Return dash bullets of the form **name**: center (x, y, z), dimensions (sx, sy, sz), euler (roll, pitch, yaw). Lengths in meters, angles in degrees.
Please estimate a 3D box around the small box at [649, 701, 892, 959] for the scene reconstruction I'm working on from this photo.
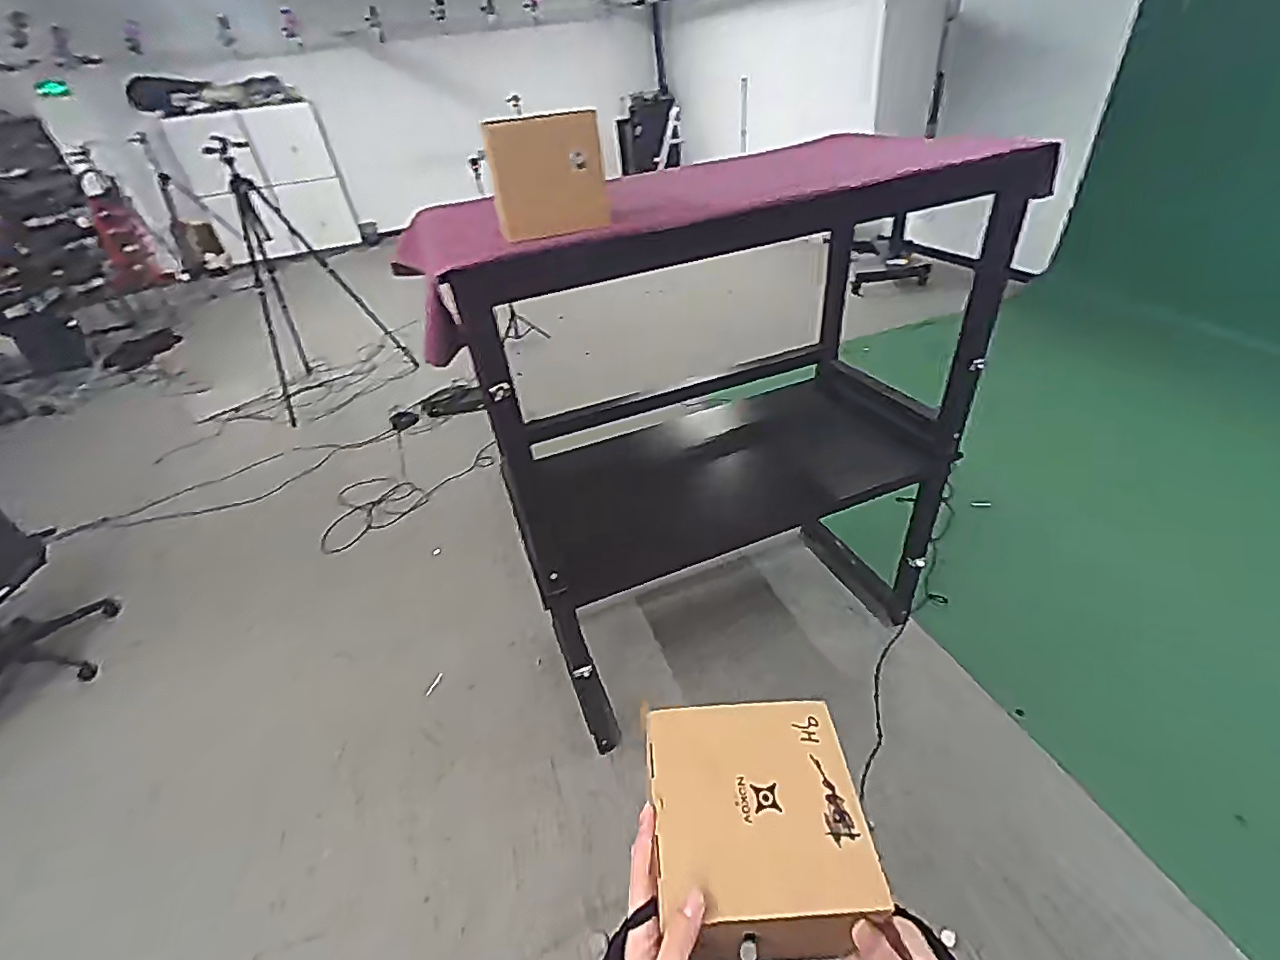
- **small box**: center (0.102, 0.331, 0.508), dimensions (0.179, 0.176, 0.168), euler (-3, 39, -1)
